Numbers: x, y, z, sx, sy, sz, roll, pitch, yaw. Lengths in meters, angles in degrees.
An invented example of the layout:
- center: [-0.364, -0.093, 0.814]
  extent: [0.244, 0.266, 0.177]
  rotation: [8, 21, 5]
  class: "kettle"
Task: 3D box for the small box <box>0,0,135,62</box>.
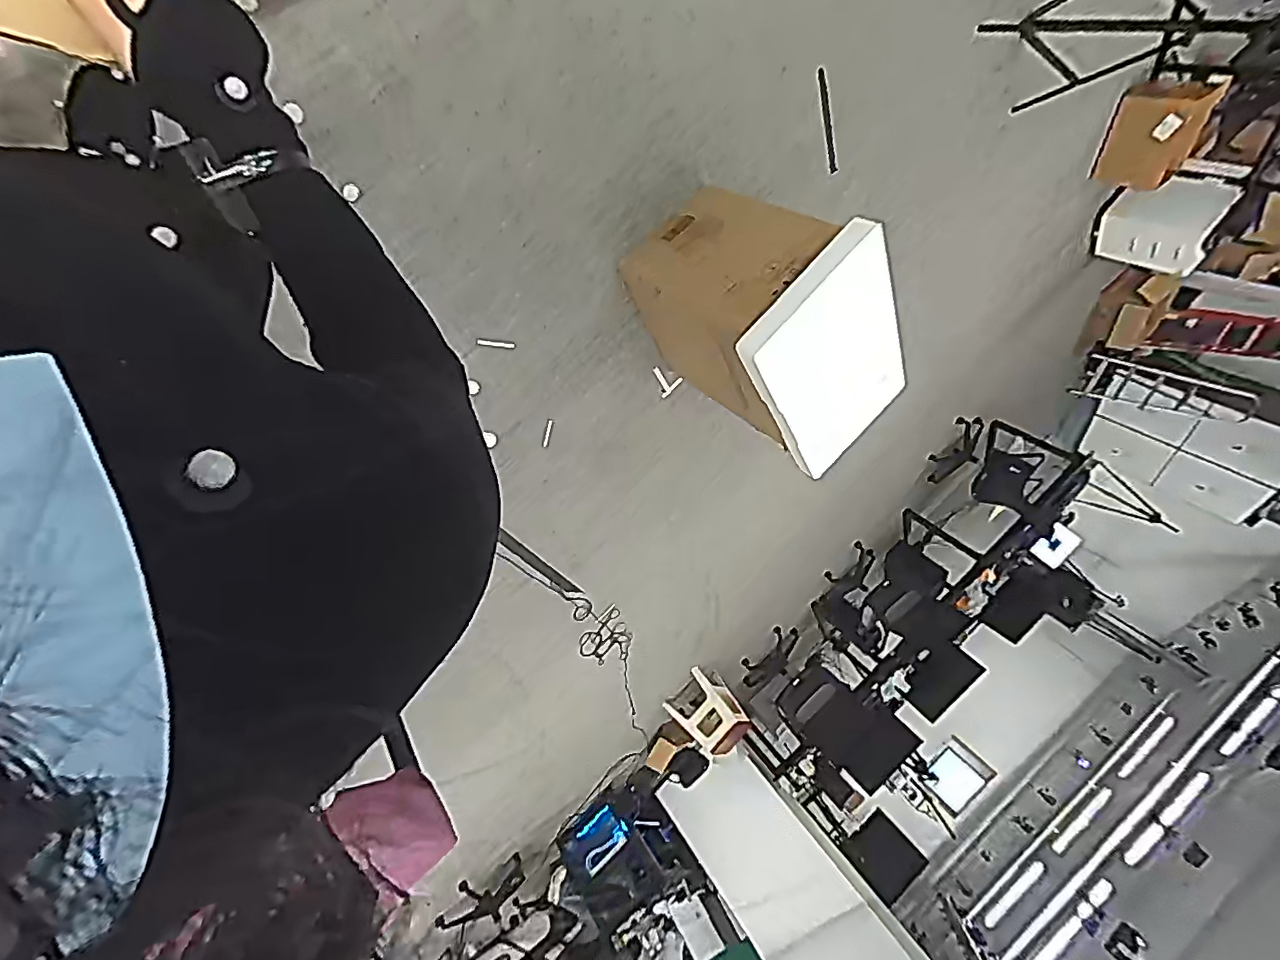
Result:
- center: [-0.444, -0.403, 0.344]
  extent: [0.168, 0.176, 0.179]
  rotation: [-6, 125, -38]
  class: "small box"
